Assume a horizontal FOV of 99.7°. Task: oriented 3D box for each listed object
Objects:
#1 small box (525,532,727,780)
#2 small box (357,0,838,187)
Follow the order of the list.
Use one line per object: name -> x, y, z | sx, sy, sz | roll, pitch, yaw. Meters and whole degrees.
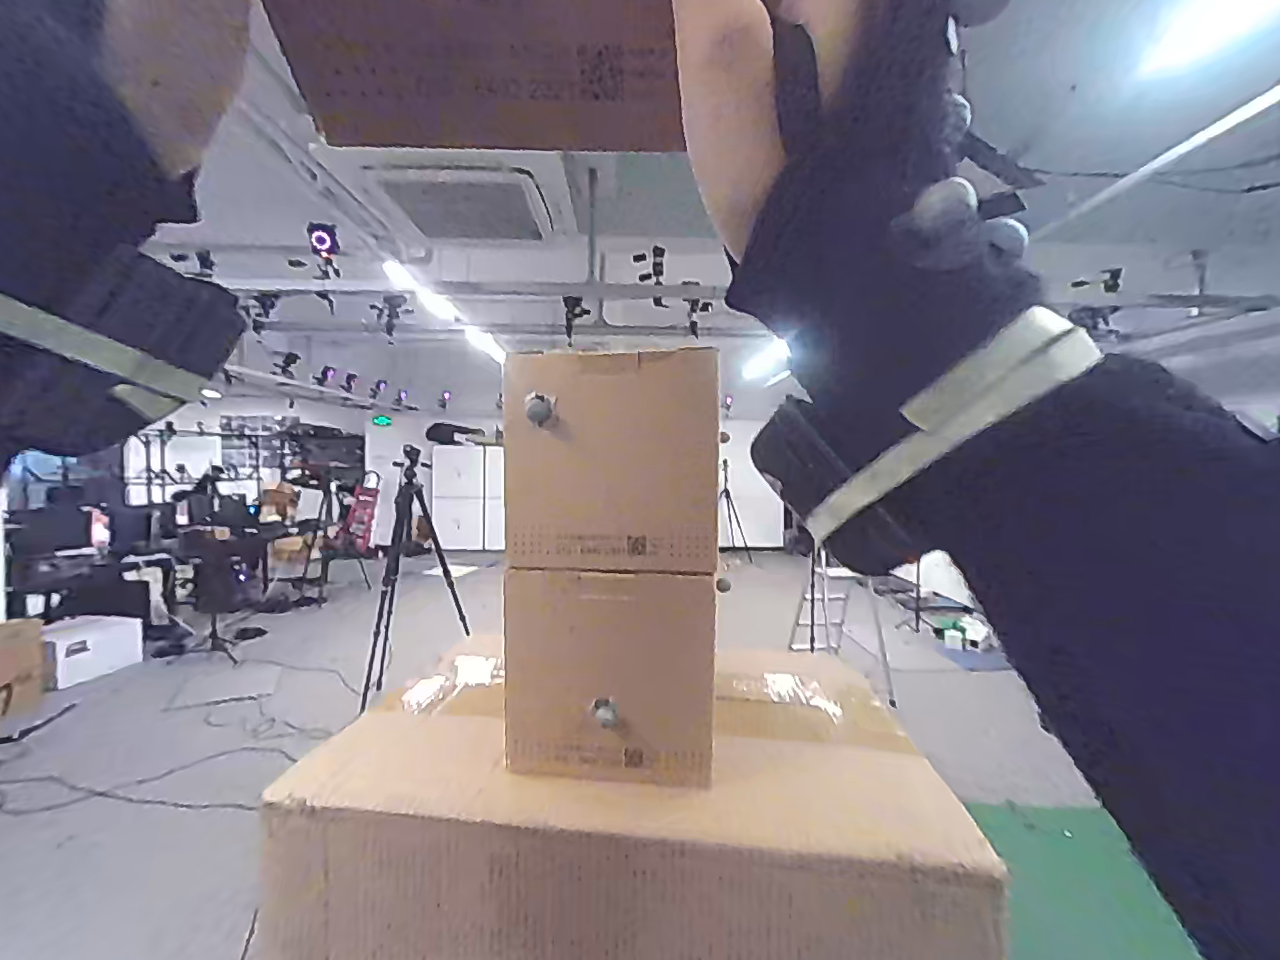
small box -> -0.007, 0.148, 0.513 | 0.168, 0.176, 0.179 | 1, 4, 6
small box -> -0.013, -0.237, 0.199 | 0.168, 0.179, 0.176 | 3, -35, 2
